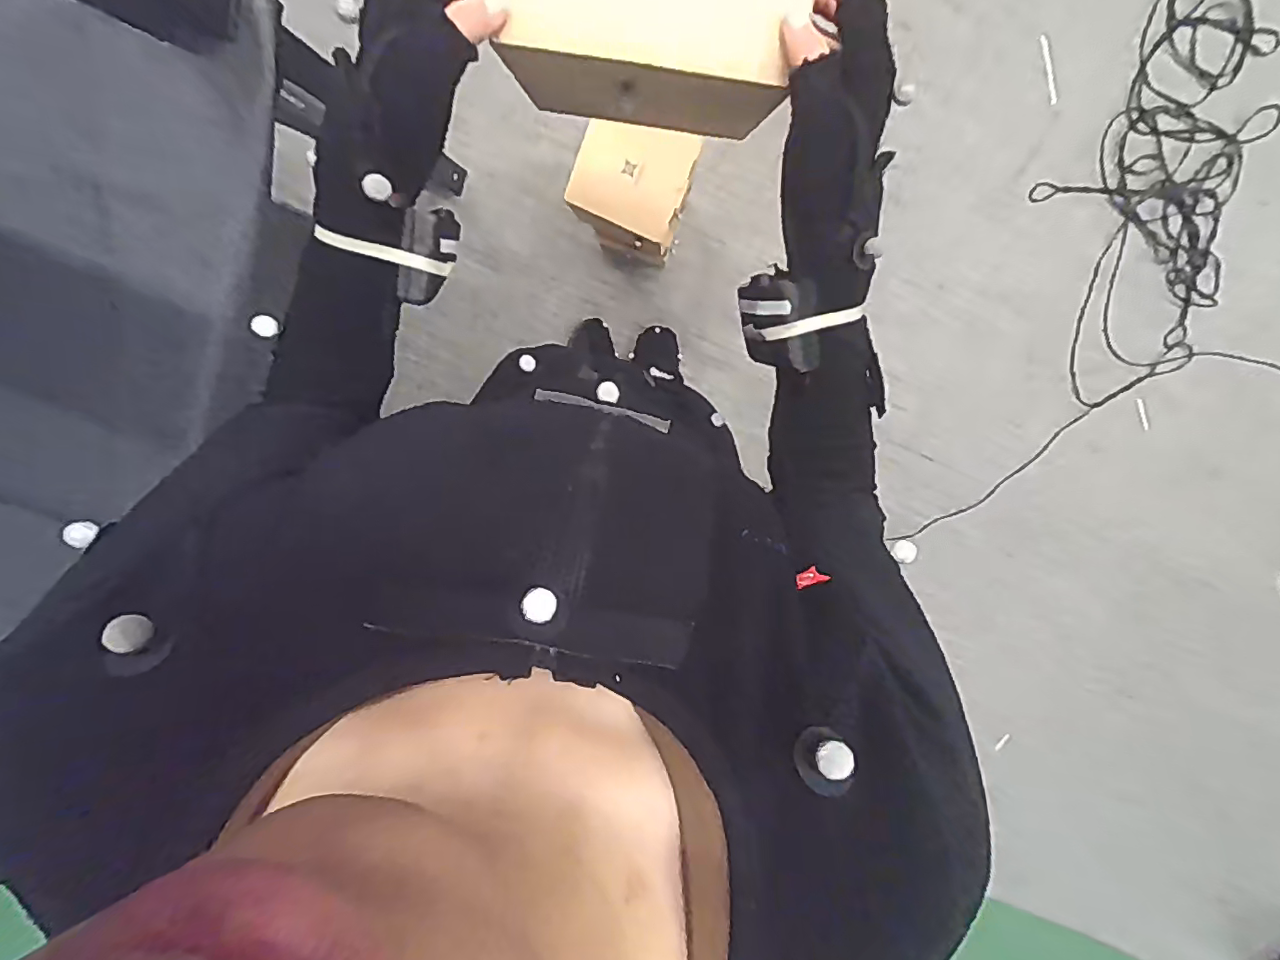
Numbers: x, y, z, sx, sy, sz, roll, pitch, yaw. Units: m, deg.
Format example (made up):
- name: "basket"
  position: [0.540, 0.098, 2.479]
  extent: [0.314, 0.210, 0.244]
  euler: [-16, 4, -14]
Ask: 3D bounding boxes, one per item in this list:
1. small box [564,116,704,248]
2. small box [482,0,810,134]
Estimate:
- name: "small box"
  position: [-0.010, -0.511, 0.916]
  extent: [0.179, 0.176, 0.168]
  euler: [22, 107, -6]
- name: "small box"
  position: [0.011, -0.333, 0.339]
  extent: [0.179, 0.176, 0.168]
  euler: [6, 115, -3]
